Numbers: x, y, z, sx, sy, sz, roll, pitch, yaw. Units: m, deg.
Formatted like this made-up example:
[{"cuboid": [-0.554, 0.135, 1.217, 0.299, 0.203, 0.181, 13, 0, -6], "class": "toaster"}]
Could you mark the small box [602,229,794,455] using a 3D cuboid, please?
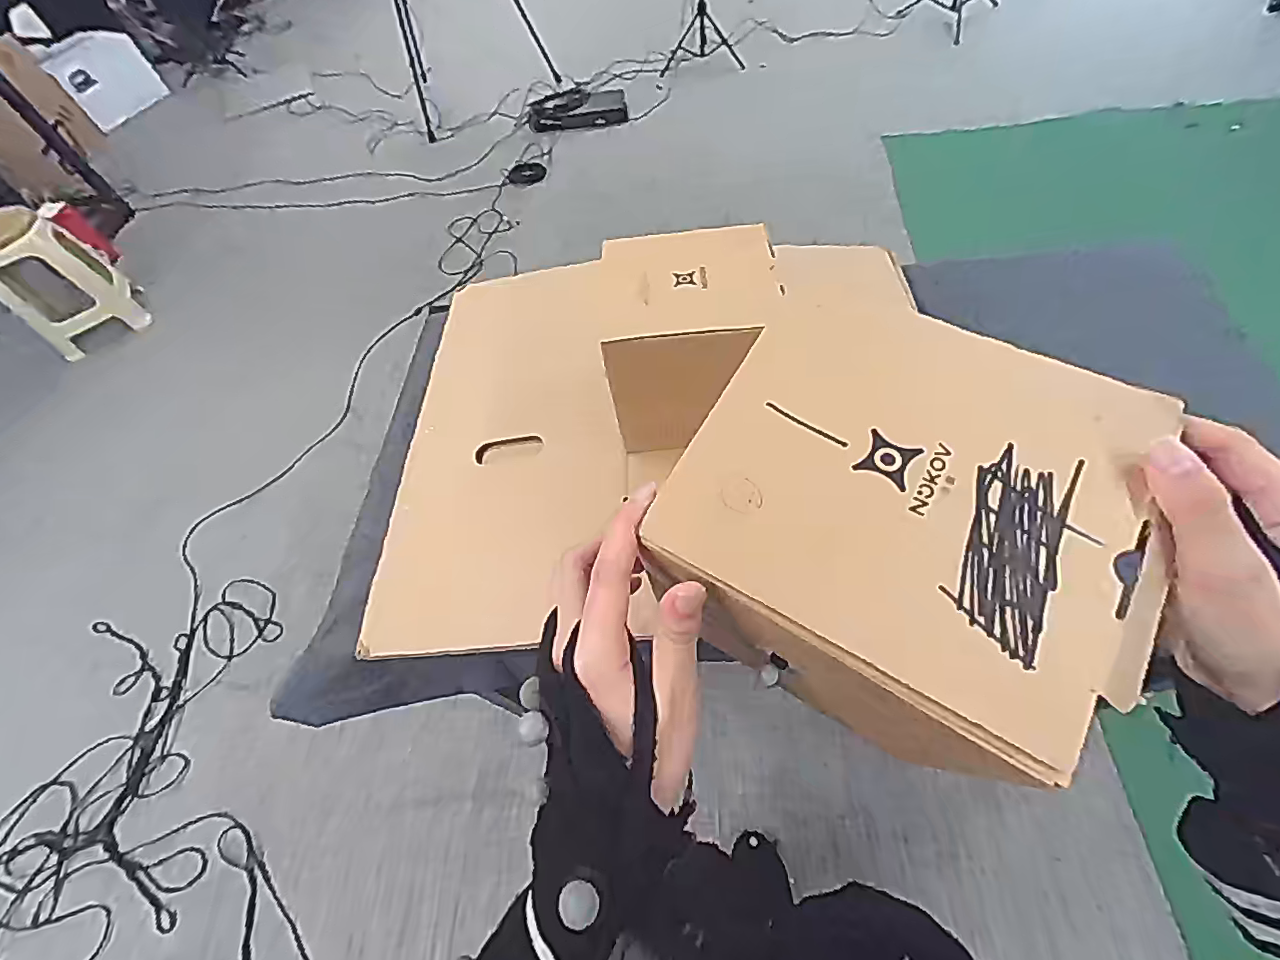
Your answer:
[{"cuboid": [0.059, -0.144, 0.595, 0.179, 0.176, 0.168, -5, 54, 5], "class": "small box"}]
